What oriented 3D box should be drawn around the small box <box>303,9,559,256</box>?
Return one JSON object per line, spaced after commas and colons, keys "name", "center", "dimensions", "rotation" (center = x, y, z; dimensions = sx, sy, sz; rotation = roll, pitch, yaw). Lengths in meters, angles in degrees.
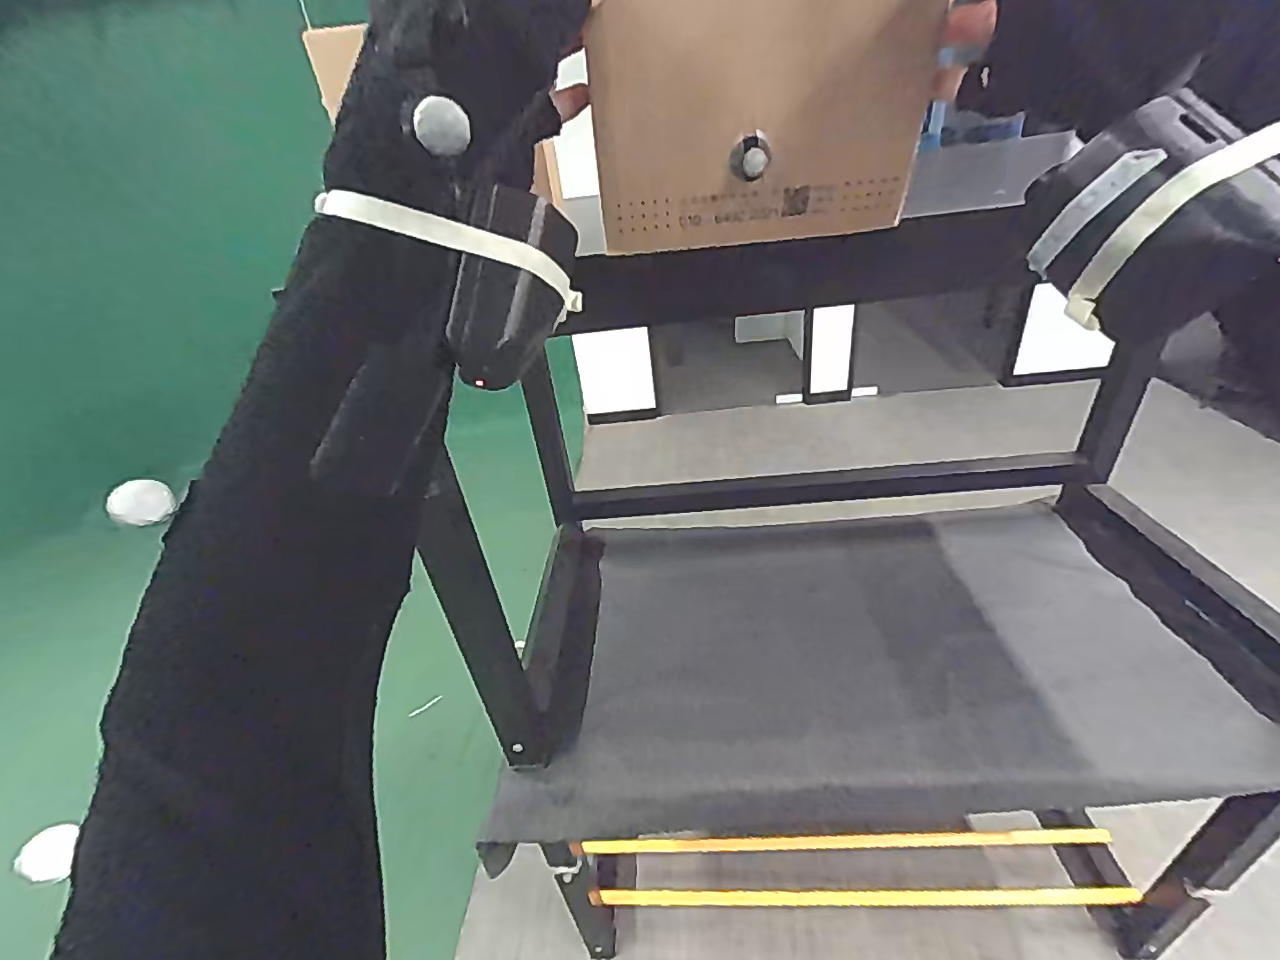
{"name": "small box", "center": [-0.177, -0.324, 0.529], "dimensions": [0.168, 0.176, 0.179], "rotation": [-7, 31, -1]}
